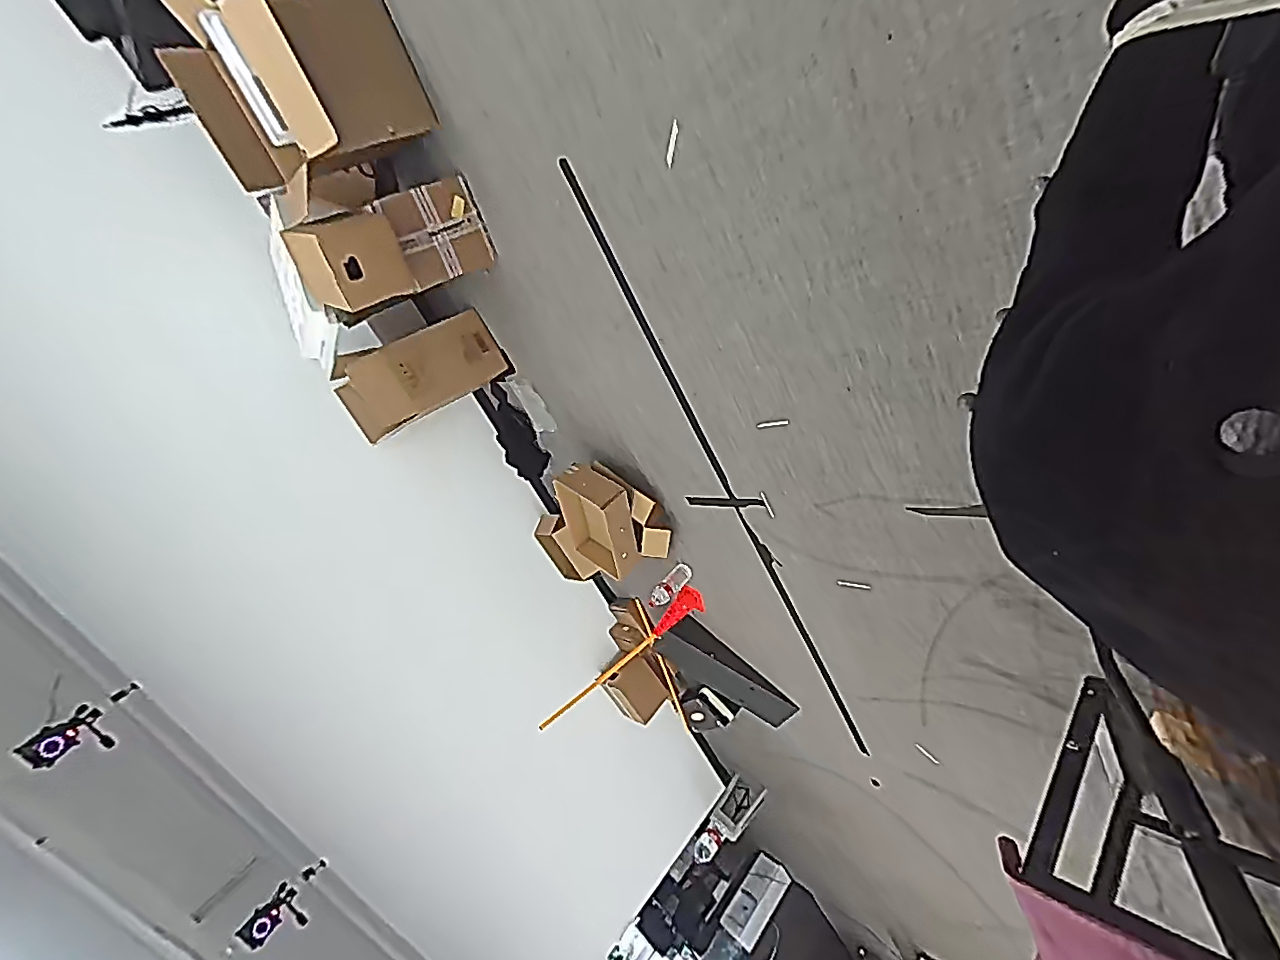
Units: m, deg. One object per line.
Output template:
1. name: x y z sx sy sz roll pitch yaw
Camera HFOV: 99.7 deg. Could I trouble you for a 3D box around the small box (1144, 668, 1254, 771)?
1. small box: 1.557 0.656 1.508 0.179 0.176 0.168 17 136 43
